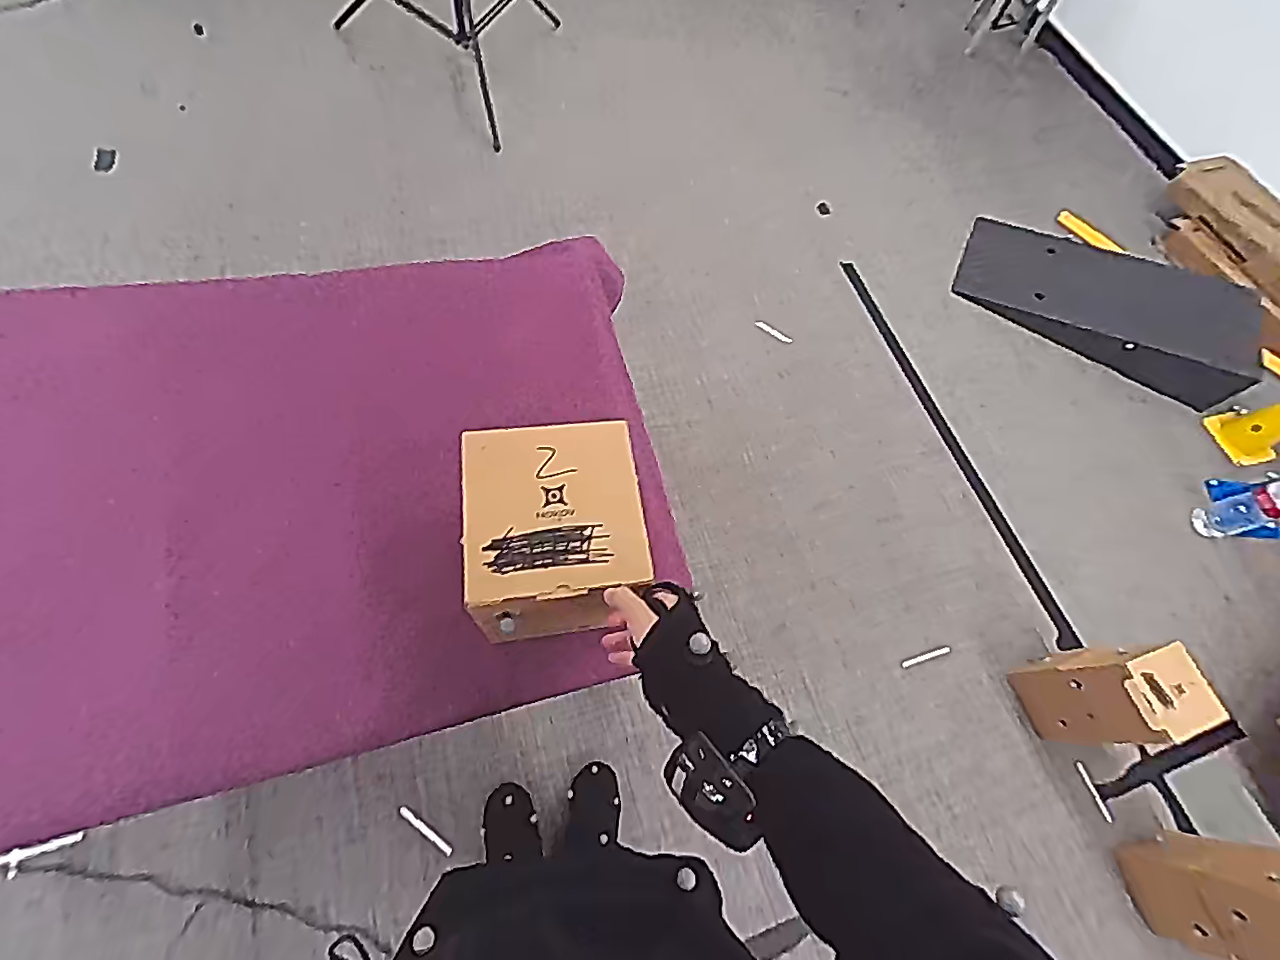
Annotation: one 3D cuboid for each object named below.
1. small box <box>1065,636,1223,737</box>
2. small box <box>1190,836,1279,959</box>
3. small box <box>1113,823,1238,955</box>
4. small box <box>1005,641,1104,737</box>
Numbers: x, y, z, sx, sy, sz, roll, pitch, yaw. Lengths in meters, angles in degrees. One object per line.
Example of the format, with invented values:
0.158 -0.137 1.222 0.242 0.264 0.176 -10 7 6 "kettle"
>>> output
1.109 0.466 1.213 0.179 0.176 0.168 -12 69 -16 "small box"
1.278 0.840 1.074 0.179 0.176 0.168 -13 70 -14 "small box"
1.242 0.908 1.218 0.168 0.176 0.179 -9 69 -13 "small box"
1.084 0.527 1.364 0.168 0.176 0.179 -15 68 -16 "small box"
